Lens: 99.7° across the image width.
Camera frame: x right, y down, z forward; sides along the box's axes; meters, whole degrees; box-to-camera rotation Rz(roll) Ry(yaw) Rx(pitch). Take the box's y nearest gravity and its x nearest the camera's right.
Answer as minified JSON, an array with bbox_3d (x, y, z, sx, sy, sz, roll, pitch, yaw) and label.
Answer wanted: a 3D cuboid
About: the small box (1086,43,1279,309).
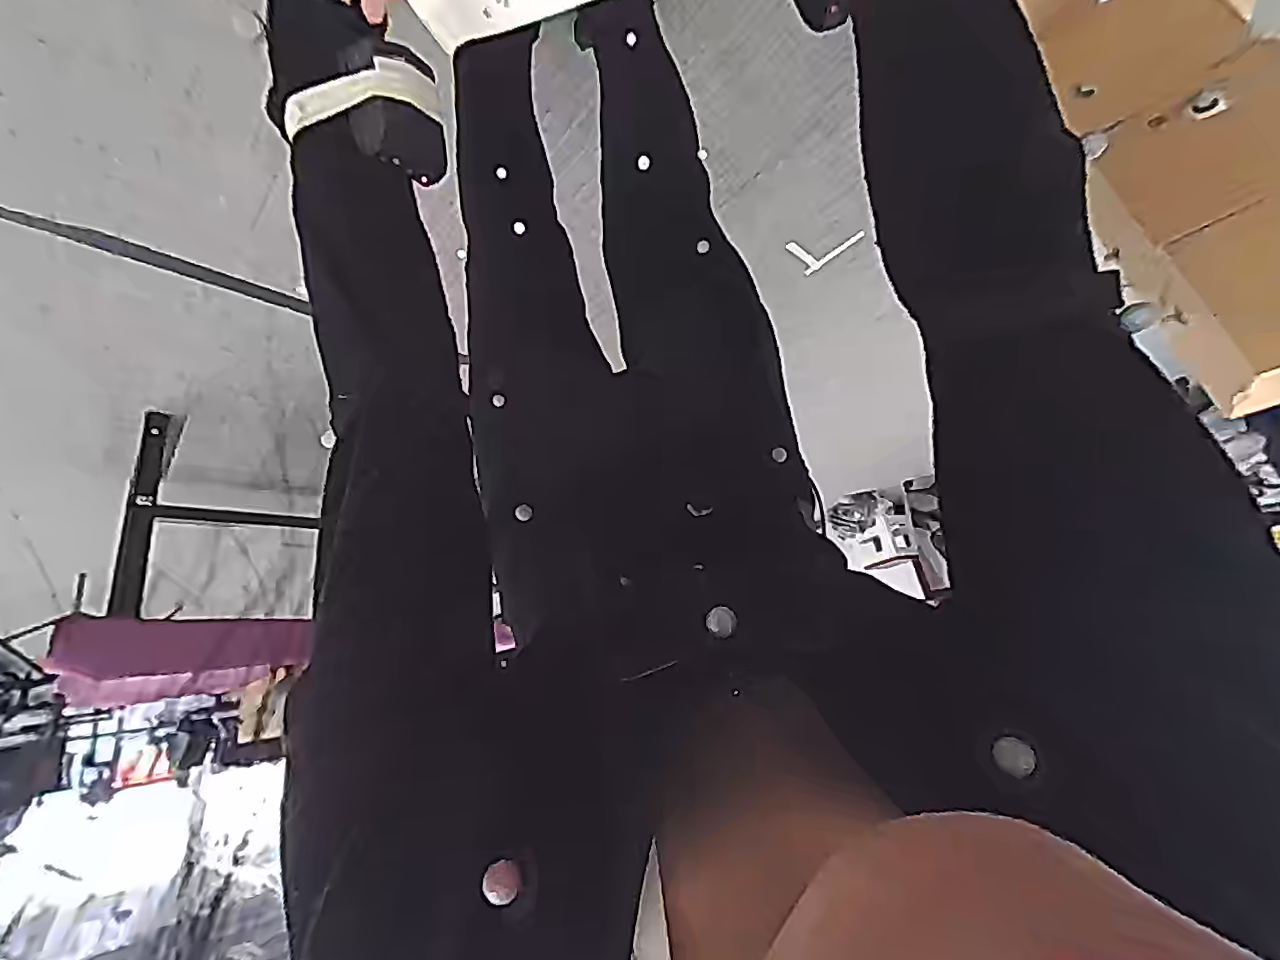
[{"bbox_3d":[0.657,-0.340,0.629,0.168,0.176,0.179,-27,153,35],"label":"small box"}]

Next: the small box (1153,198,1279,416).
[{"bbox_3d":[0.694,-0.195,0.561,0.179,0.176,0.168,-26,154,33],"label":"small box"}]
